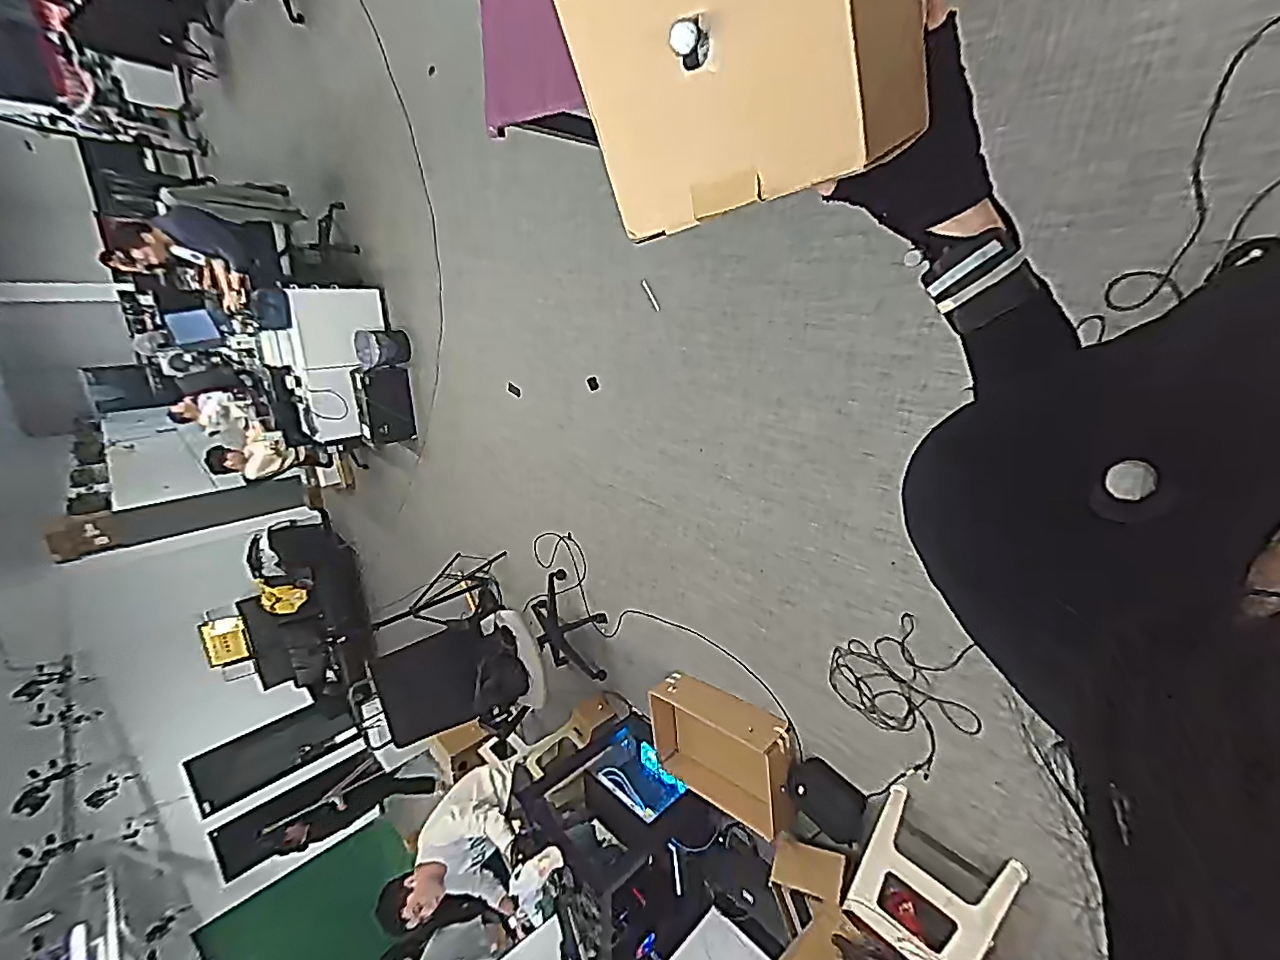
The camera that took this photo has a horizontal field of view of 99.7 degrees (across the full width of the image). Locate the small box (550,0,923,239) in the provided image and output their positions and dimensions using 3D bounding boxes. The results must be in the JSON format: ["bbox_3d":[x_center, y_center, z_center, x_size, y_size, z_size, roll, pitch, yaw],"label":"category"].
[{"bbox_3d":[0.066,-0.280,0.341,0.168,0.179,0.176,3,125,39],"label":"small box"}]
